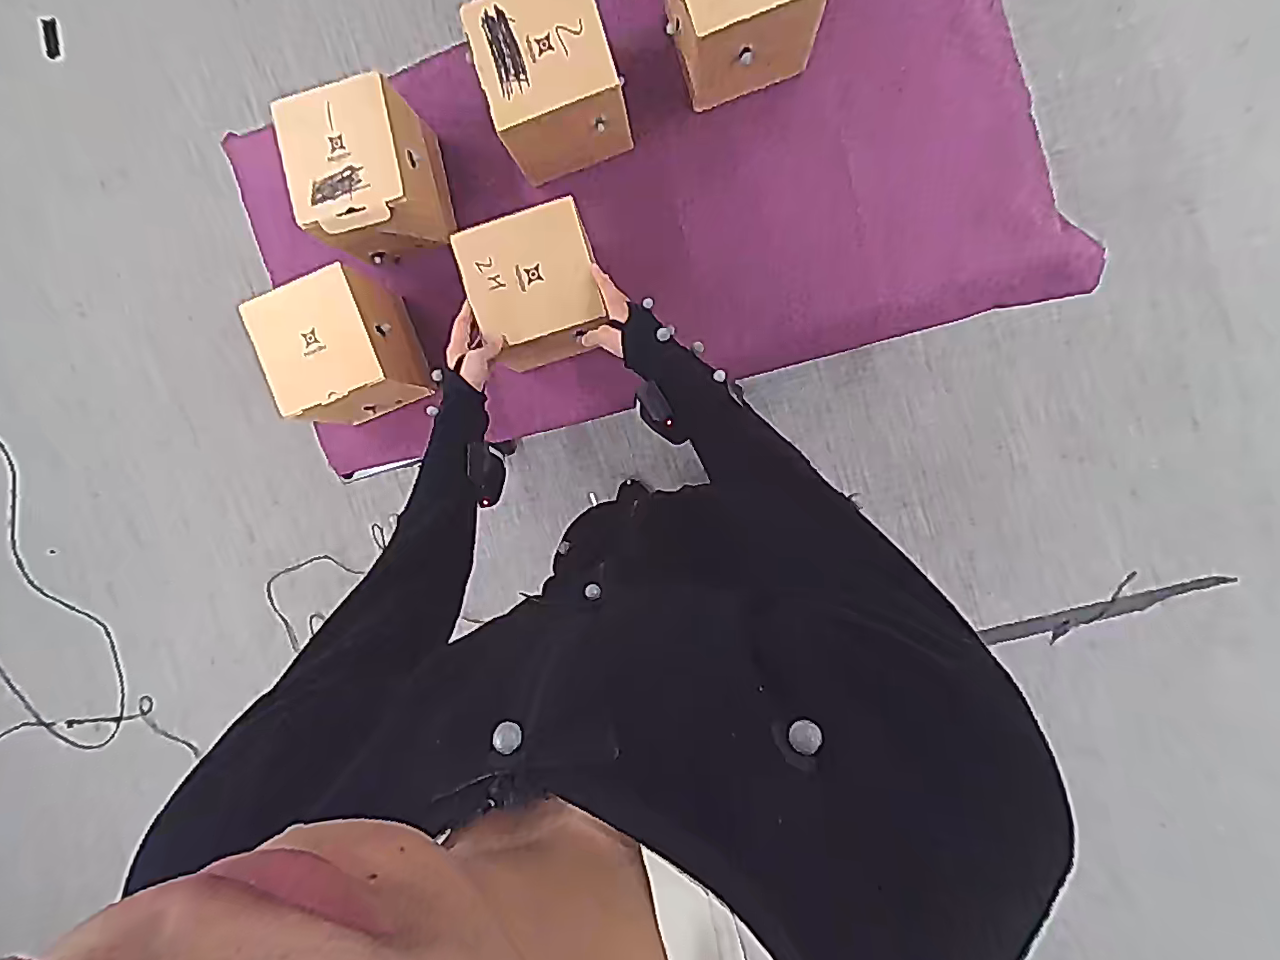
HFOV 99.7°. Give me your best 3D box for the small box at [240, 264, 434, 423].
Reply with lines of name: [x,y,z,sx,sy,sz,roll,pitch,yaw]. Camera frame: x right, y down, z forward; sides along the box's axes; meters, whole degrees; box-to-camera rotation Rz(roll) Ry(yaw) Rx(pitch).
small box: [-0.454,-0.198,0.837,0.168,0.176,0.179,-21,92,5]

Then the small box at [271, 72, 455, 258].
small box: [-0.401,-0.454,0.814,0.168,0.176,0.179,-11,93,6]

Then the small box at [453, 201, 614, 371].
small box: [-0.142,-0.271,0.797,0.179,0.176,0.168,-16,91,5]
